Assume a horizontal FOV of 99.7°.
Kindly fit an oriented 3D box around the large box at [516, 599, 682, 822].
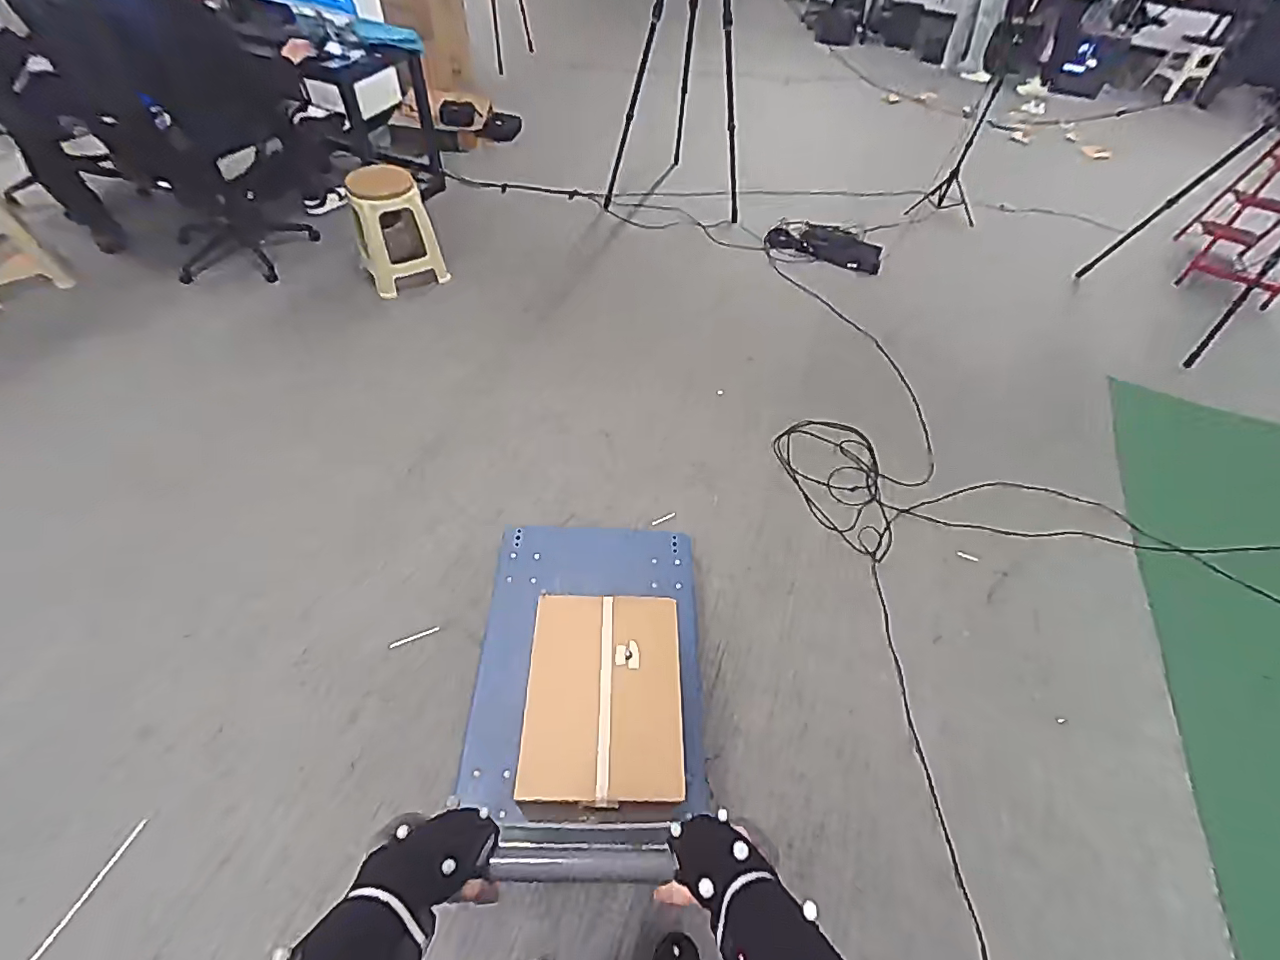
[{"bbox_3d":[-0.087,0.525,1.233,0.320,0.320,0.408,3,51,-4],"label":"large box"}]
